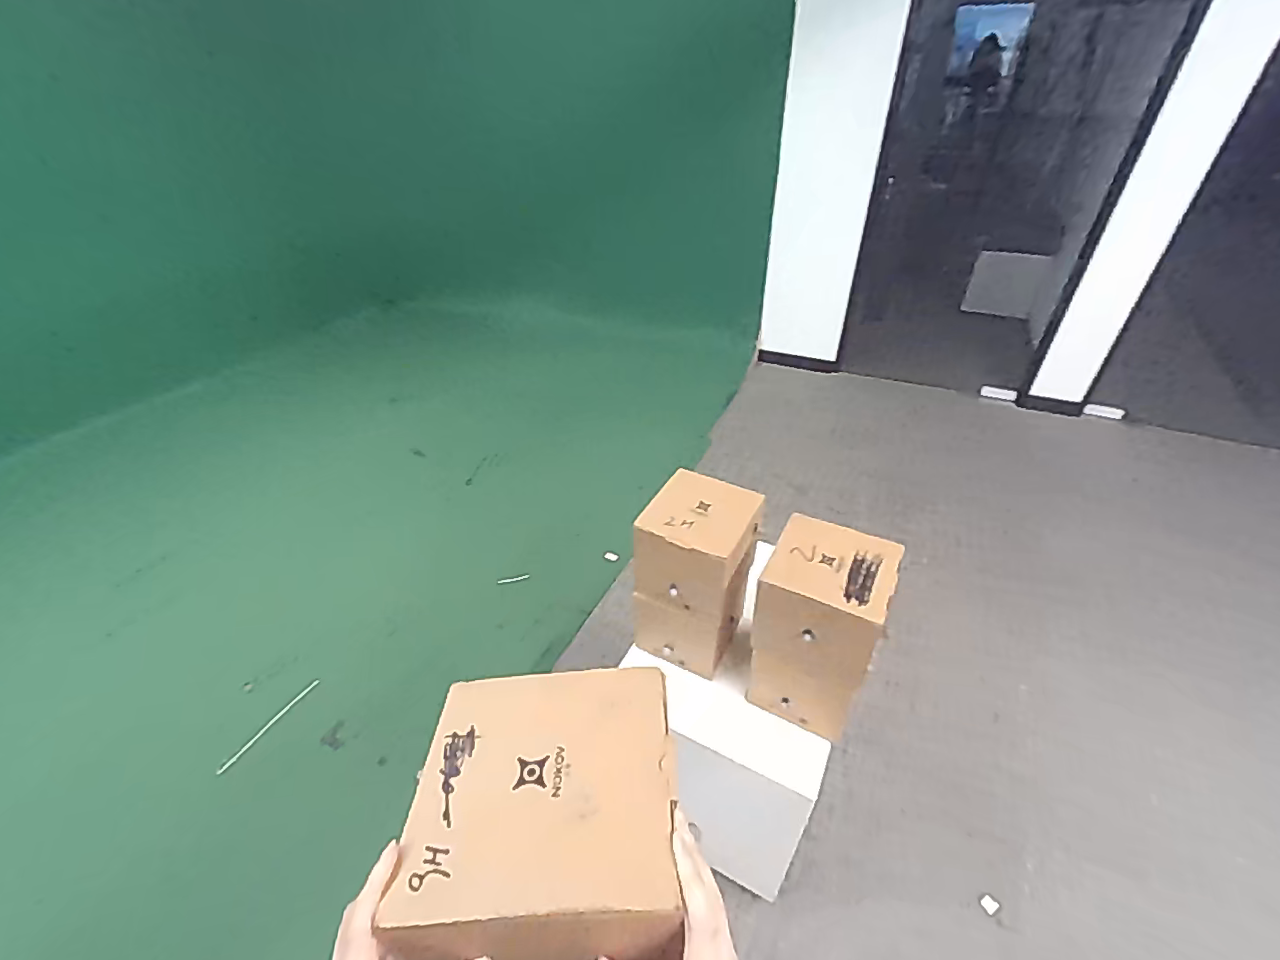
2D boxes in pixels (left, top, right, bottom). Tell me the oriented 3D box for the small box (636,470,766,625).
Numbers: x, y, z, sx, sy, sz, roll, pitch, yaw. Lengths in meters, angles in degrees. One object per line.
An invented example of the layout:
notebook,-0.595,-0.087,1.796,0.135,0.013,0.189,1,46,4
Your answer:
small box,0.104,0.115,0.946,0.168,0.176,0.179,19,43,24

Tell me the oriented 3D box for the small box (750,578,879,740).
small box,0.302,0.312,0.952,0.168,0.176,0.179,18,43,25

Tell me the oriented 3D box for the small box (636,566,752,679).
small box,0.102,0.244,1.048,0.168,0.176,0.179,18,44,23
